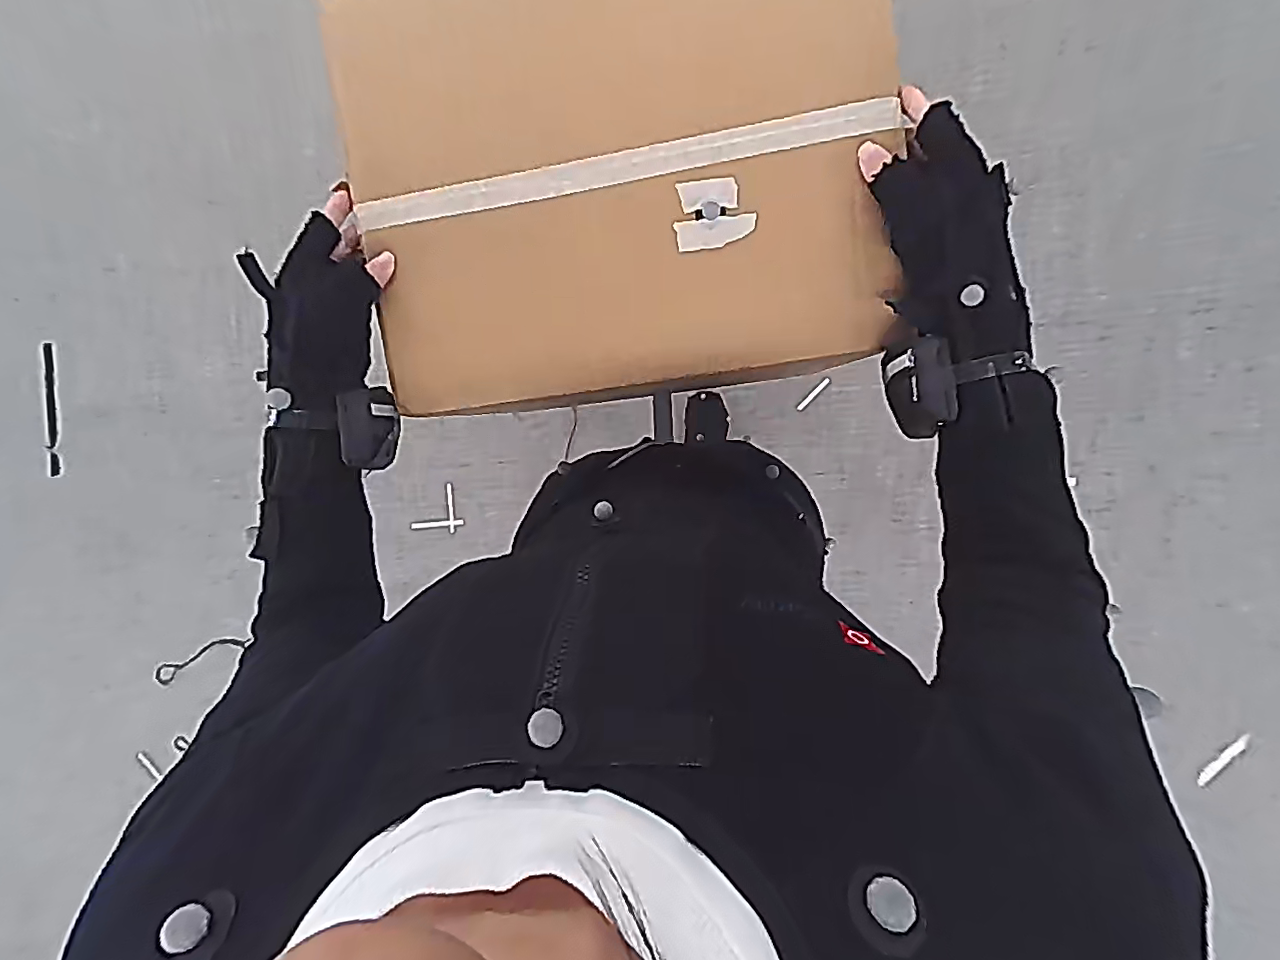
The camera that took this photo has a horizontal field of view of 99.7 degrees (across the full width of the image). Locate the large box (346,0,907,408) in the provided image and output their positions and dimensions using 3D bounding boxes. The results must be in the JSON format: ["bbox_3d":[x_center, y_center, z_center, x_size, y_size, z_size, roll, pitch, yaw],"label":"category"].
[{"bbox_3d":[-0.001,-0.257,0.561,0.408,0.320,0.320,-7,98,6],"label":"large box"}]
